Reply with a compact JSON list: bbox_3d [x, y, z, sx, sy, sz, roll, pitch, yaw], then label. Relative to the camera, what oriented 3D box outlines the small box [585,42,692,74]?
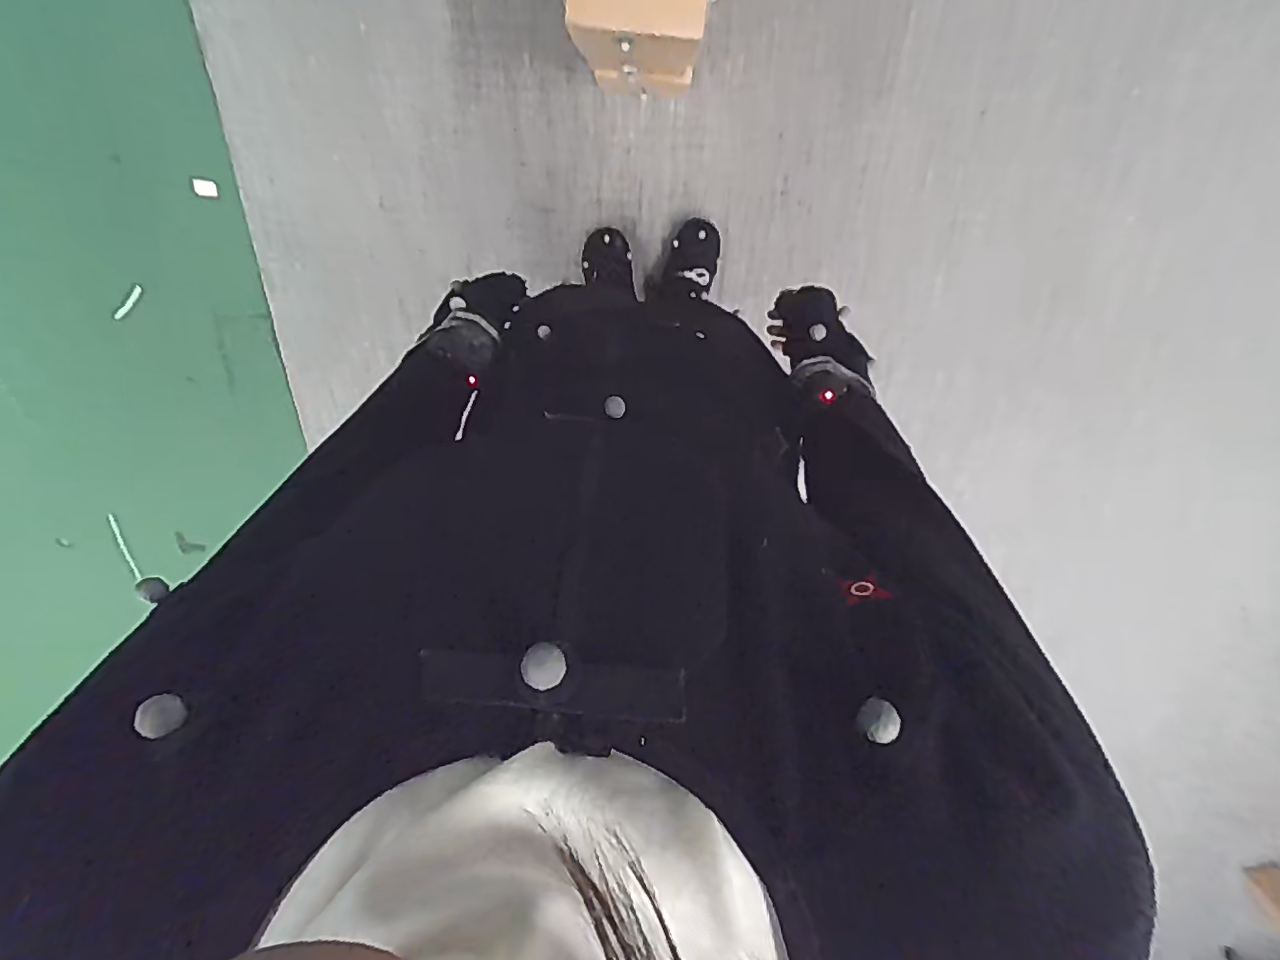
[{"bbox_3d":[0.006,-0.763,0.847,0.168,0.176,0.179,5,120,1],"label":"small box"}]

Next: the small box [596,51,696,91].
[{"bbox_3d":[0.015,-0.832,0.995,0.179,0.176,0.168,4,119,-1],"label":"small box"}]

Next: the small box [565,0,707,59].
[{"bbox_3d":[0.005,-0.676,0.707,0.179,0.176,0.168,6,119,-1],"label":"small box"}]
